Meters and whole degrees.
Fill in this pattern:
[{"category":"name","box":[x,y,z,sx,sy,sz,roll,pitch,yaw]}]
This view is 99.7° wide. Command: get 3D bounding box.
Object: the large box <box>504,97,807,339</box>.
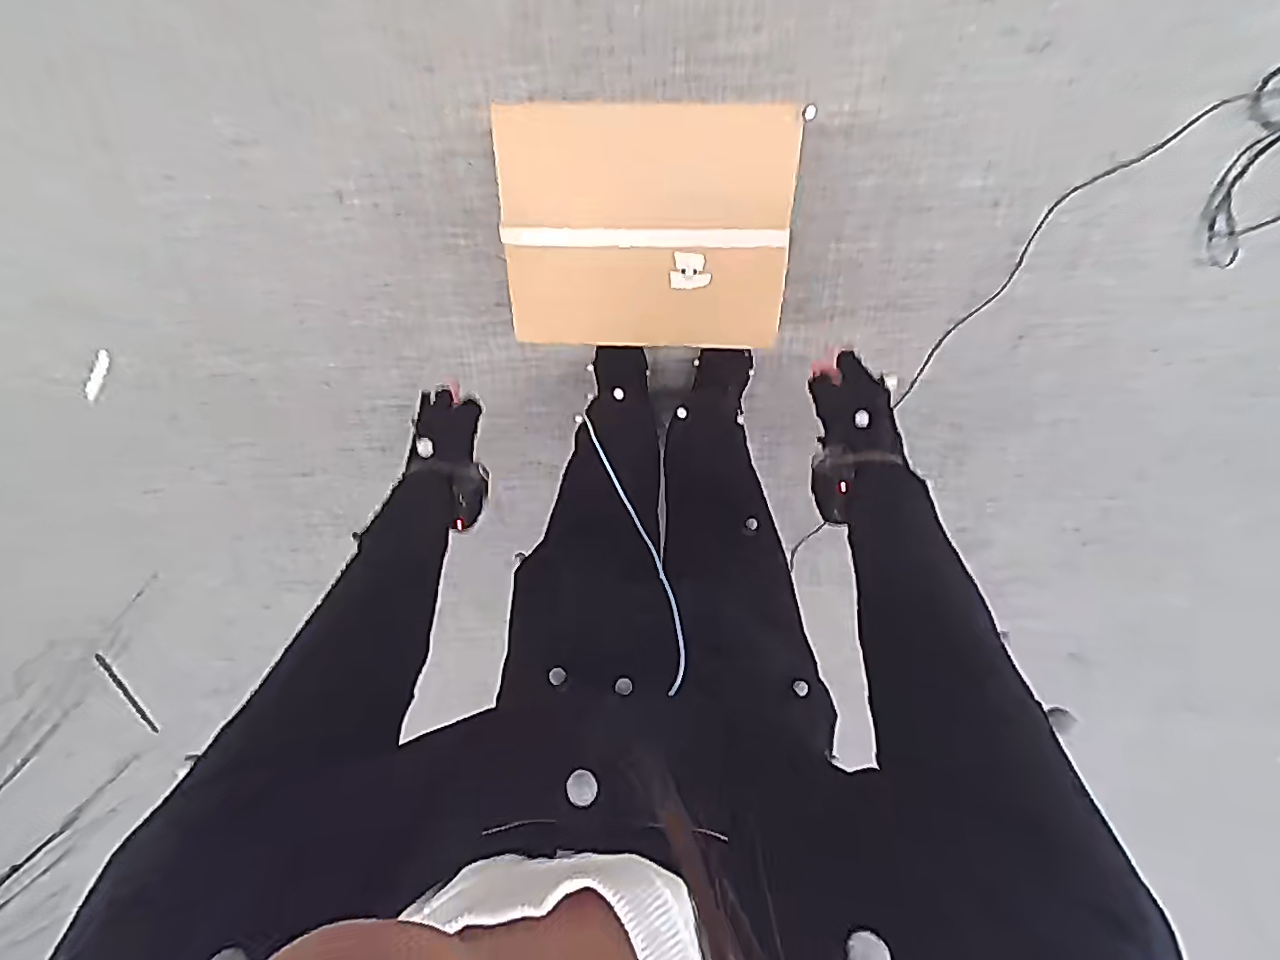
[{"category":"large box","box":[0.026,-0.427,0.902,0.408,0.320,0.320,2,120,3]}]
